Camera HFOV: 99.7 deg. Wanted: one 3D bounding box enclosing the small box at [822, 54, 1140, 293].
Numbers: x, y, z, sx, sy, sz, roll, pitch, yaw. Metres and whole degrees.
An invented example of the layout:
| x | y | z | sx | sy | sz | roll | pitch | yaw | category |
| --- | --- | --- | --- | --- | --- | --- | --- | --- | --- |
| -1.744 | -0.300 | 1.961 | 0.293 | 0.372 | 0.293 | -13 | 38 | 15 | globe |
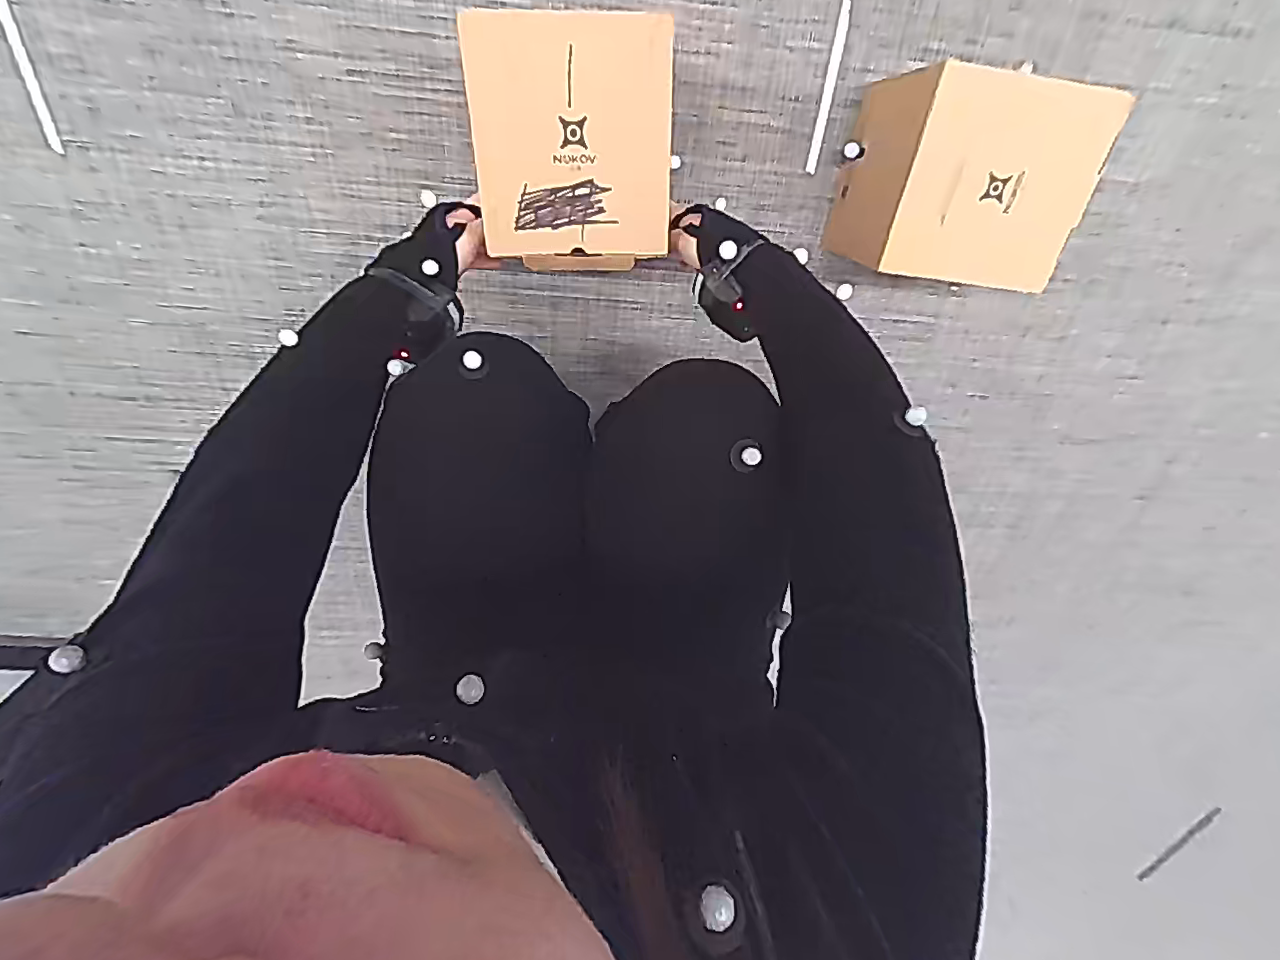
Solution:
| x | y | z | sx | sy | sz | roll | pitch | yaw | category |
| --- | --- | --- | --- | --- | --- | --- | --- | --- | --- |
| 0.314 | -0.300 | 0.544 | 0.179 | 0.176 | 0.168 | 6 | 120 | -6 | small box |

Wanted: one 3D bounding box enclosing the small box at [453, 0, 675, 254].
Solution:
| x | y | z | sx | sy | sz | roll | pitch | yaw | category |
| --- | --- | --- | --- | --- | --- | --- | --- | --- | --- |
| -0.060 | -0.319 | 0.507 | 0.168 | 0.176 | 0.179 | -1 | 121 | -3 | small box |
